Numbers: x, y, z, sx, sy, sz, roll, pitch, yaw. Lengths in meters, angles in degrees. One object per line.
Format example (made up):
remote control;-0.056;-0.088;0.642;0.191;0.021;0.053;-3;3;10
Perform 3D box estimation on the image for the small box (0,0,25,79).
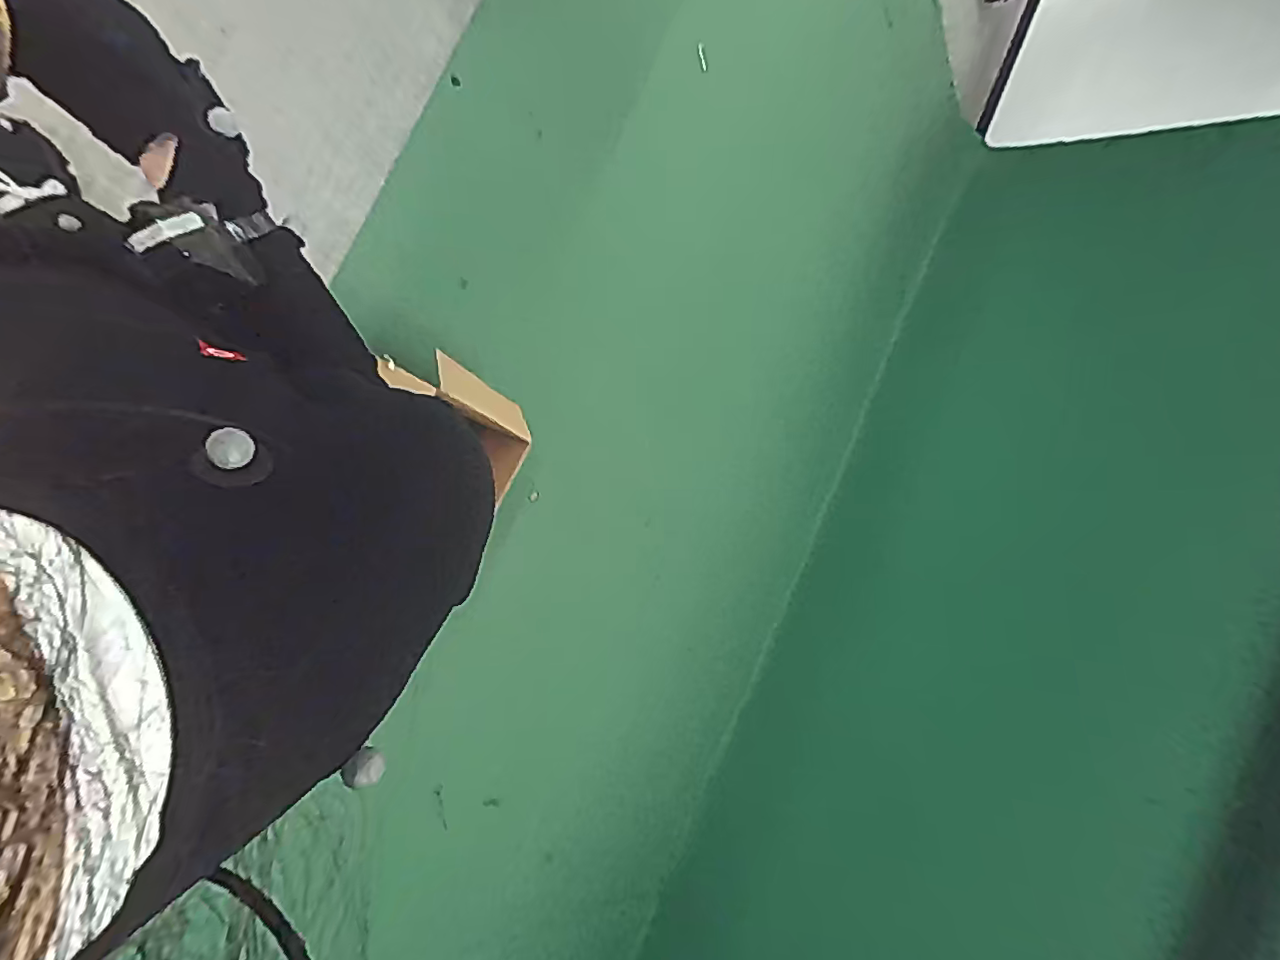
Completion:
small box;-0.392;-0.282;0.204;0.168;0.176;0.179;-24;122;-44
